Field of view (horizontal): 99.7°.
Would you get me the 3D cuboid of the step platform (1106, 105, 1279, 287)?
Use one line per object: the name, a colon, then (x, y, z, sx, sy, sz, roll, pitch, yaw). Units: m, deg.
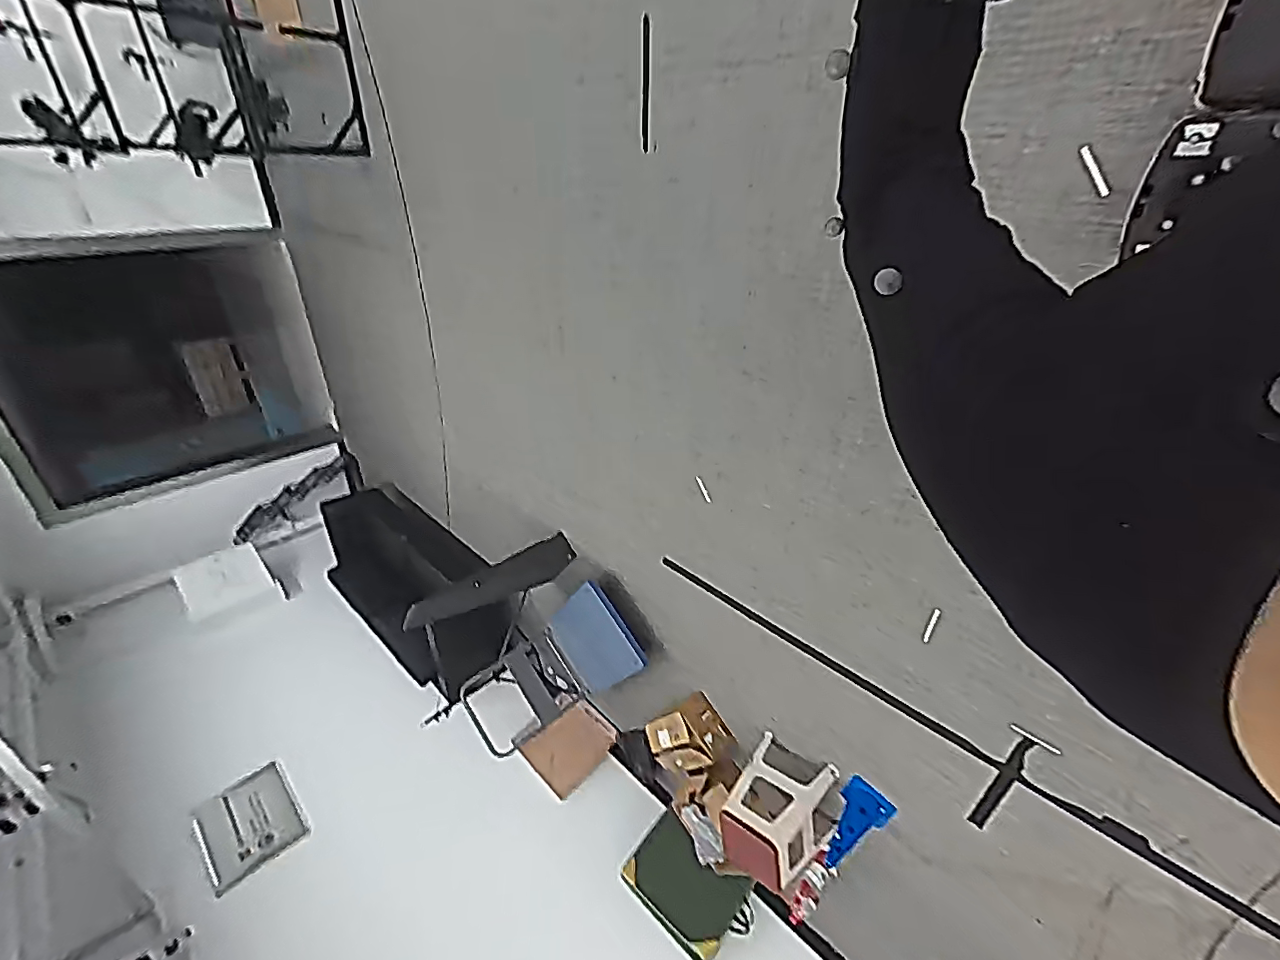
step platform: (1.237, -0.468, 0.904, 0.684, 0.204, 0.286, 26, 128, 39)
